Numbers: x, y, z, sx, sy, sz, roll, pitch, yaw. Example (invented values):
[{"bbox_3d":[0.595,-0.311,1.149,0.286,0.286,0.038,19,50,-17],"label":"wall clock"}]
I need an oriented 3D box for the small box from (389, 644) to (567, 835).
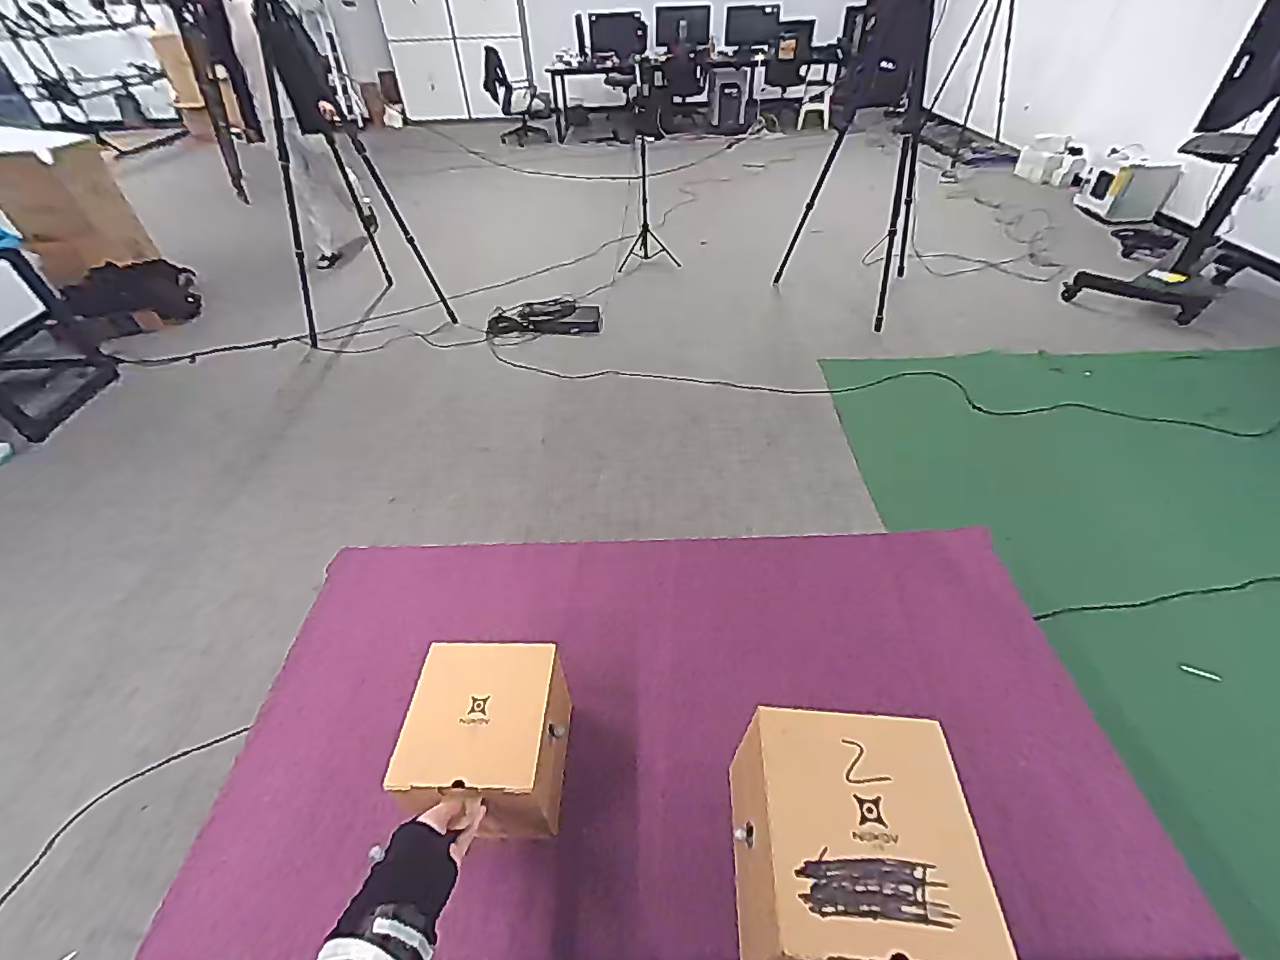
[{"bbox_3d":[-0.193,0.336,0.706,0.168,0.176,0.179,0,43,2],"label":"small box"}]
